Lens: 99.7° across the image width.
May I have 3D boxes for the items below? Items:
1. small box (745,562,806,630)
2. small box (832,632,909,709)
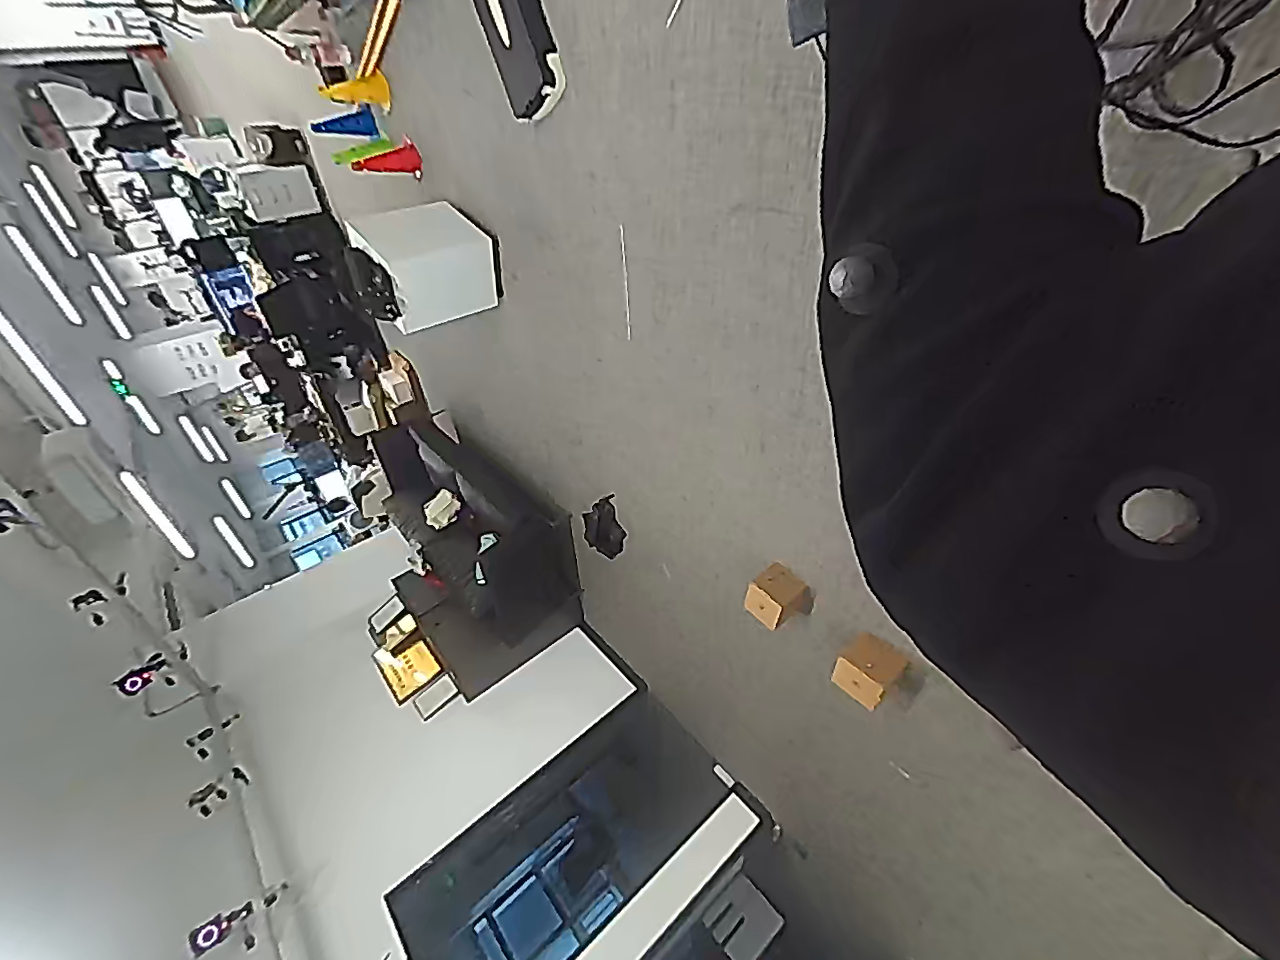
[{"bbox_3d":[0.557,0.468,2.215,0.168,0.176,0.179,39,145,35],"label":"small box"},{"bbox_3d":[0.838,0.683,1.969,0.179,0.176,0.168,35,142,37],"label":"small box"}]
